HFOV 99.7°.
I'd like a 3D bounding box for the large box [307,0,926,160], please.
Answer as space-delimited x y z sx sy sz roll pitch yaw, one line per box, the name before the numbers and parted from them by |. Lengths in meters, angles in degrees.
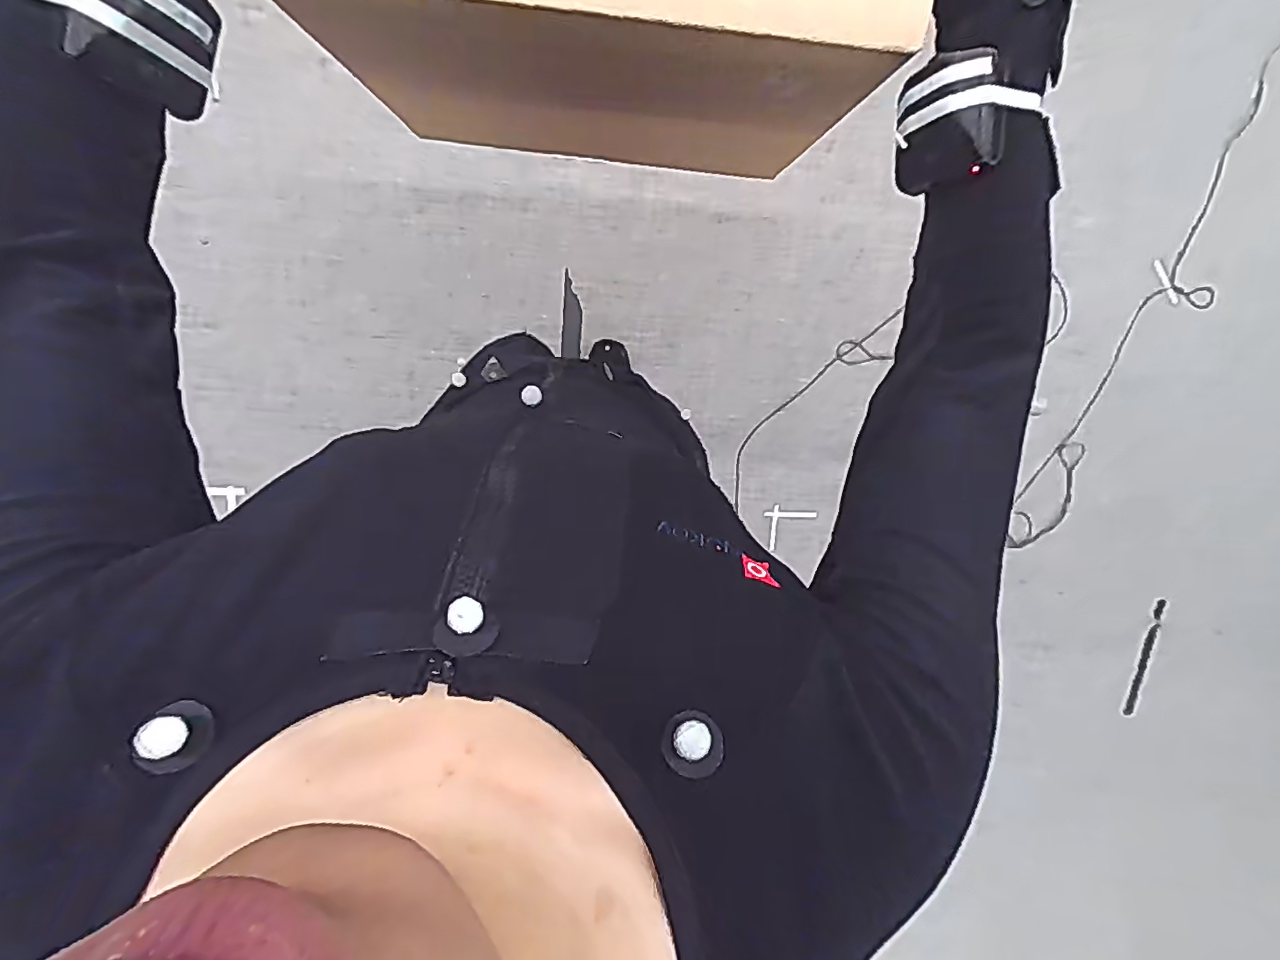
large box | -0.022 -0.477 0.425 0.408 0.320 0.320 3 107 -4
